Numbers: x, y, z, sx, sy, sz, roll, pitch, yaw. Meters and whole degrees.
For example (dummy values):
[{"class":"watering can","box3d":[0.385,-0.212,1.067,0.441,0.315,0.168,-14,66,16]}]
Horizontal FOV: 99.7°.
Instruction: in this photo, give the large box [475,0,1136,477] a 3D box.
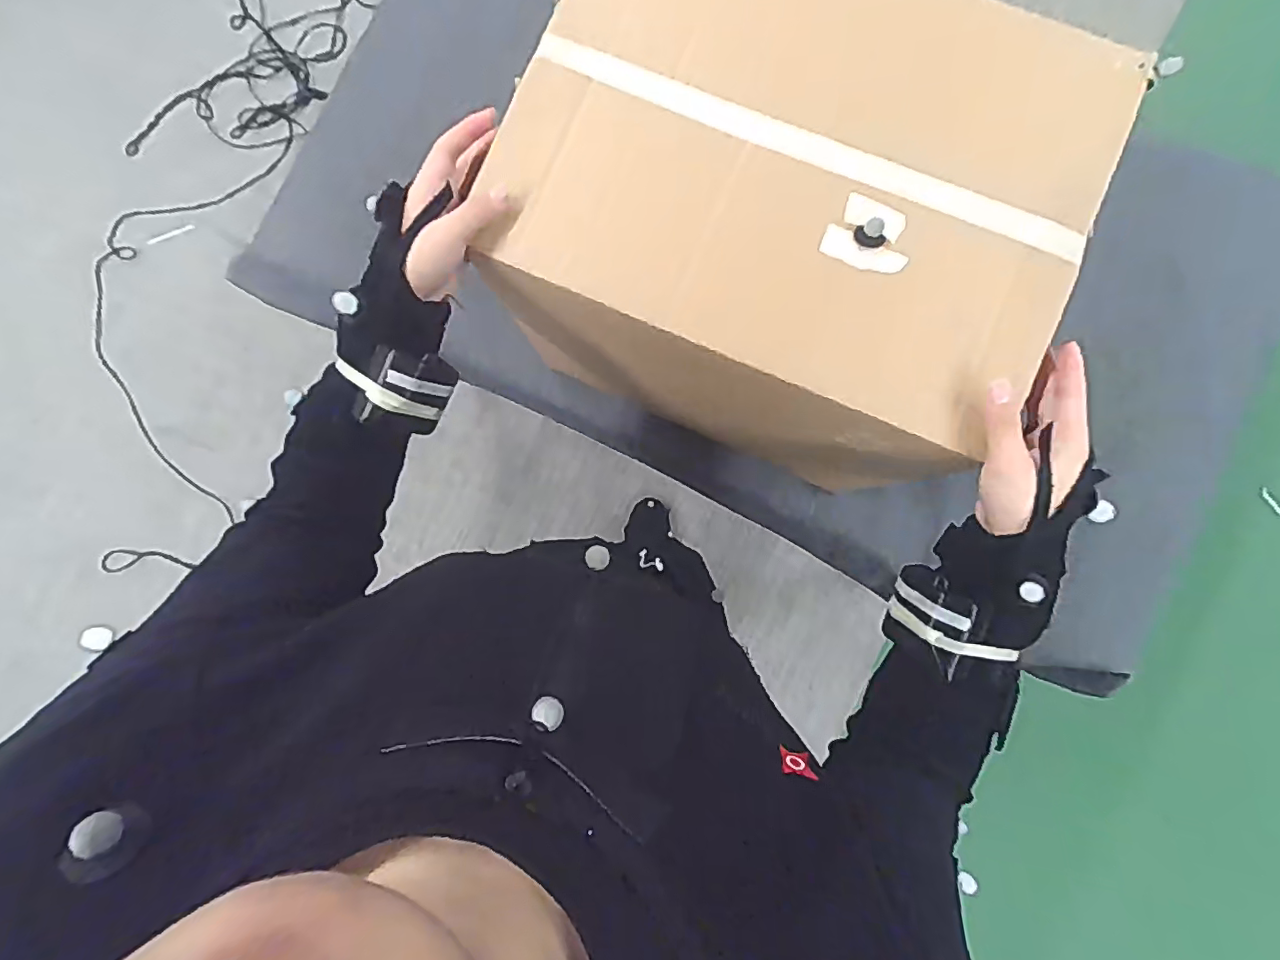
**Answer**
[{"class":"large box","box3d":[0.120,-0.227,0.536,0.408,0.320,0.320,24,87,3]}]
